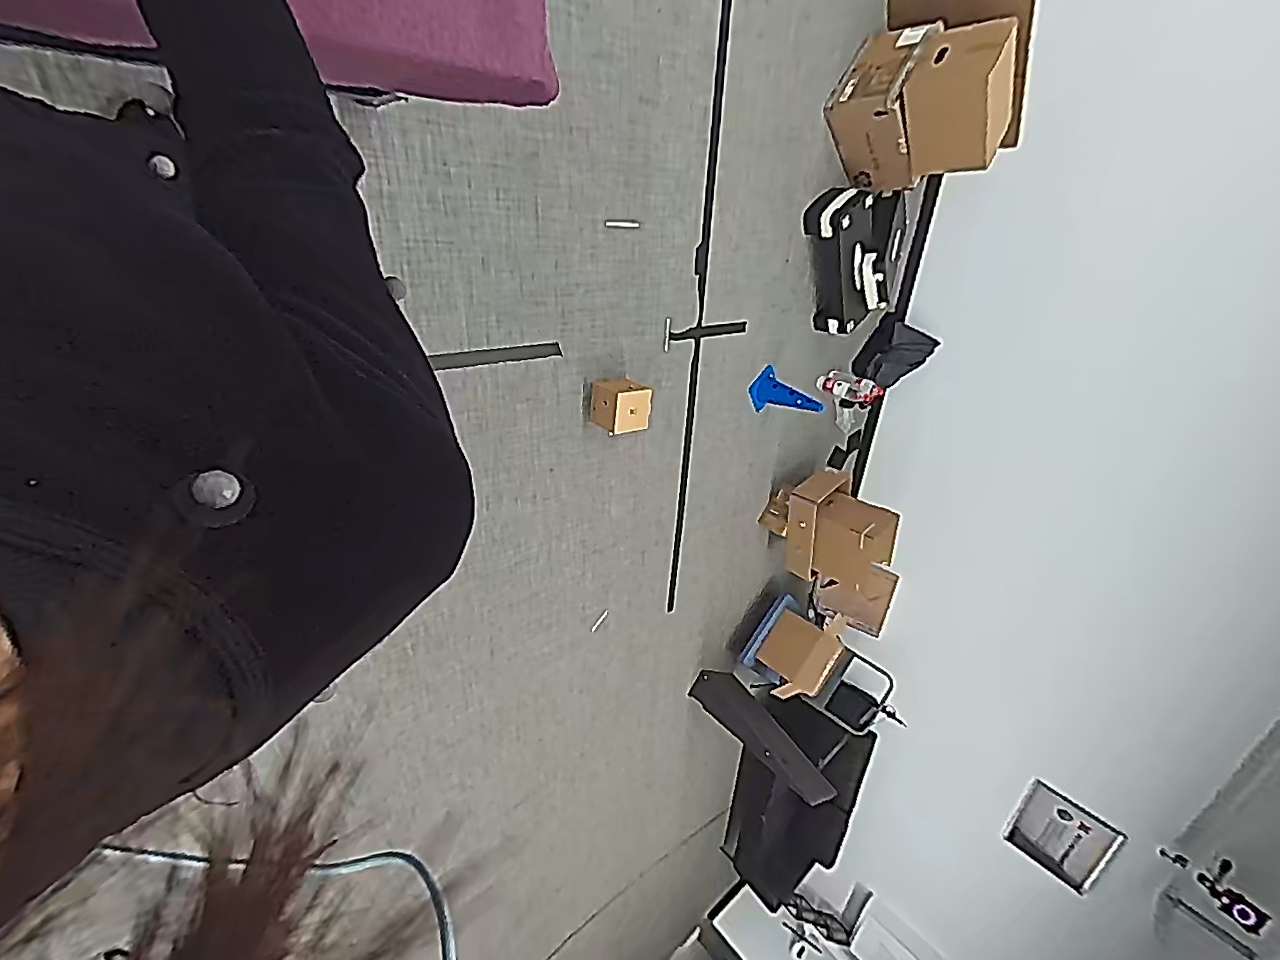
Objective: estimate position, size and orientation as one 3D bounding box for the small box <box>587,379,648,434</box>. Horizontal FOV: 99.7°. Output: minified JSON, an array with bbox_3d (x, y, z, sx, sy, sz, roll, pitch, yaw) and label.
[{"bbox_3d":[-0.092,-0.293,2.133,0.179,0.176,0.168,-16,123,-40],"label":"small box"}]
